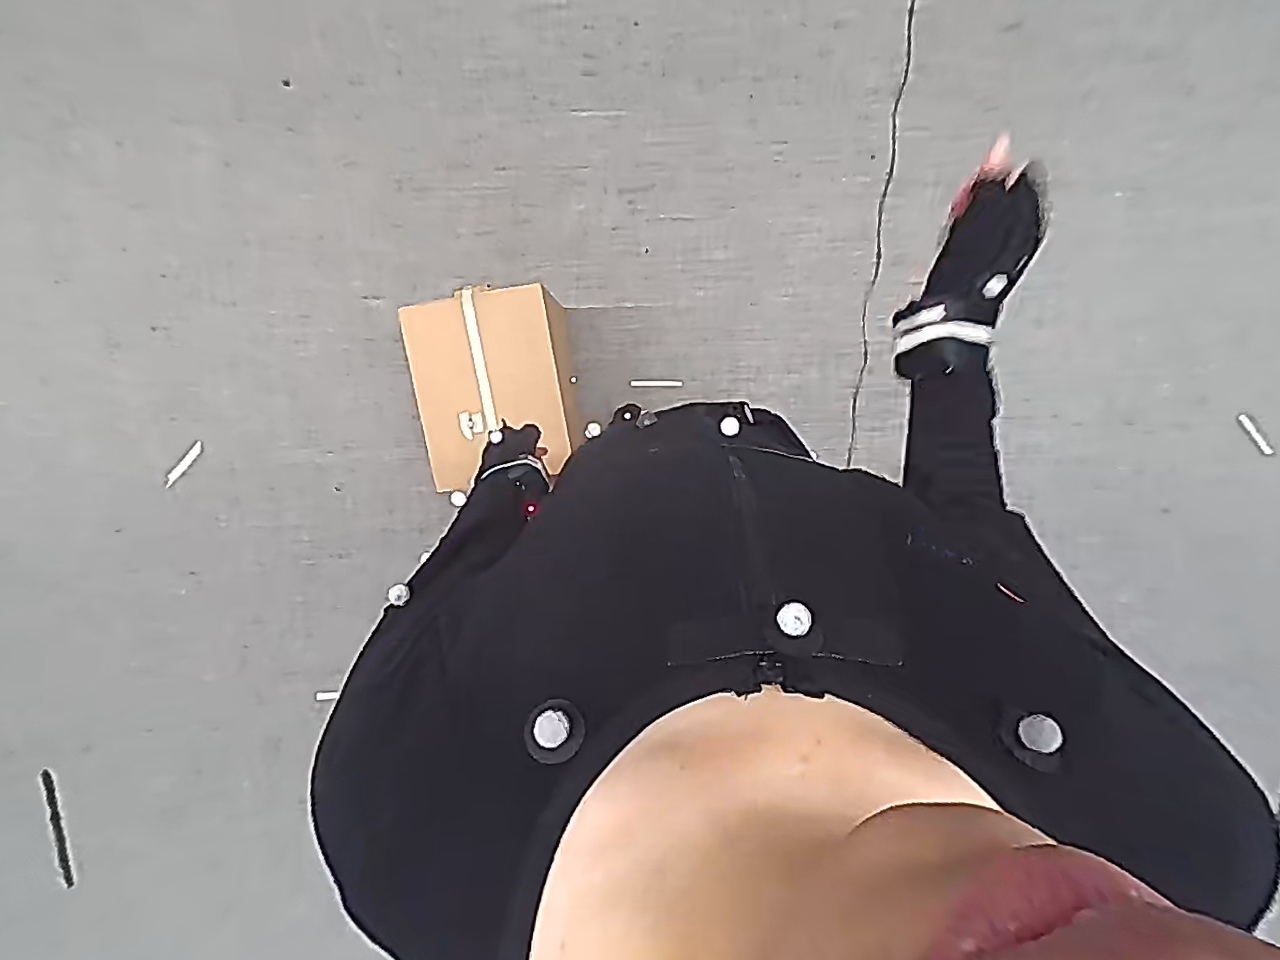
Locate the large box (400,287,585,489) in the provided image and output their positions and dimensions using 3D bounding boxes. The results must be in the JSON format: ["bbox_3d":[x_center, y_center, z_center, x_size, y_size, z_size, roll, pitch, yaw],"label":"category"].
[{"bbox_3d":[-0.333,-0.219,1.330,0.320,0.320,0.408,-9,99,3],"label":"large box"}]
